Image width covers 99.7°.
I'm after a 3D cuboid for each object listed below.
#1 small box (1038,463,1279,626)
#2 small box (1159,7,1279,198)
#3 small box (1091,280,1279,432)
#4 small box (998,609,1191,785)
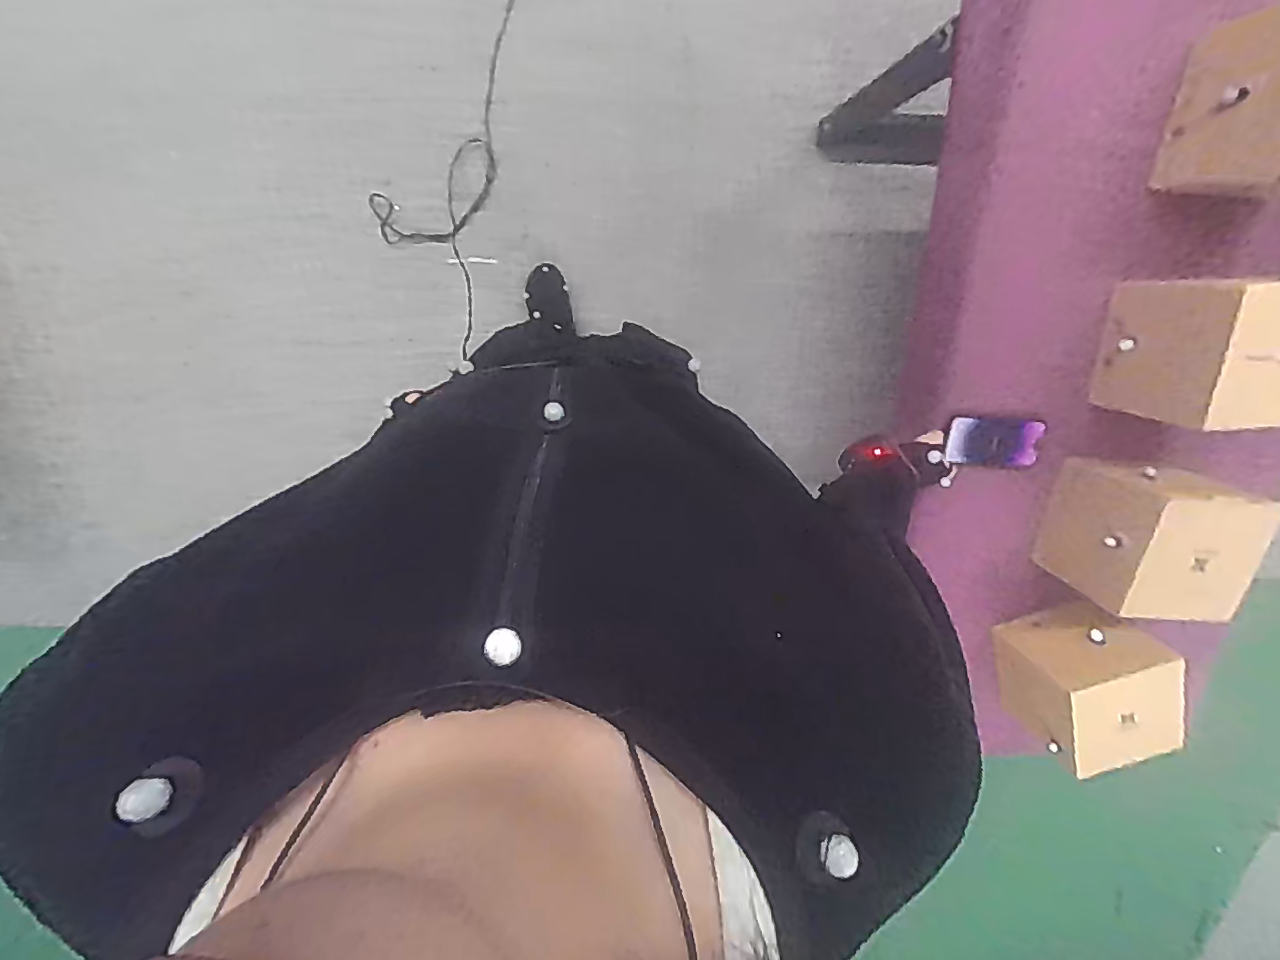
[{"bbox_3d":[0.717,0.082,0.766,0.168,0.176,0.179,4,109,-4],"label":"small box"},{"bbox_3d":[0.745,-0.416,0.593,0.179,0.176,0.168,2,109,-3],"label":"small box"},{"bbox_3d":[0.736,-0.162,0.681,0.179,0.176,0.168,-3,109,-2],"label":"small box"},{"bbox_3d":[0.700,0.326,0.849,0.168,0.176,0.179,-19,110,3],"label":"small box"}]
